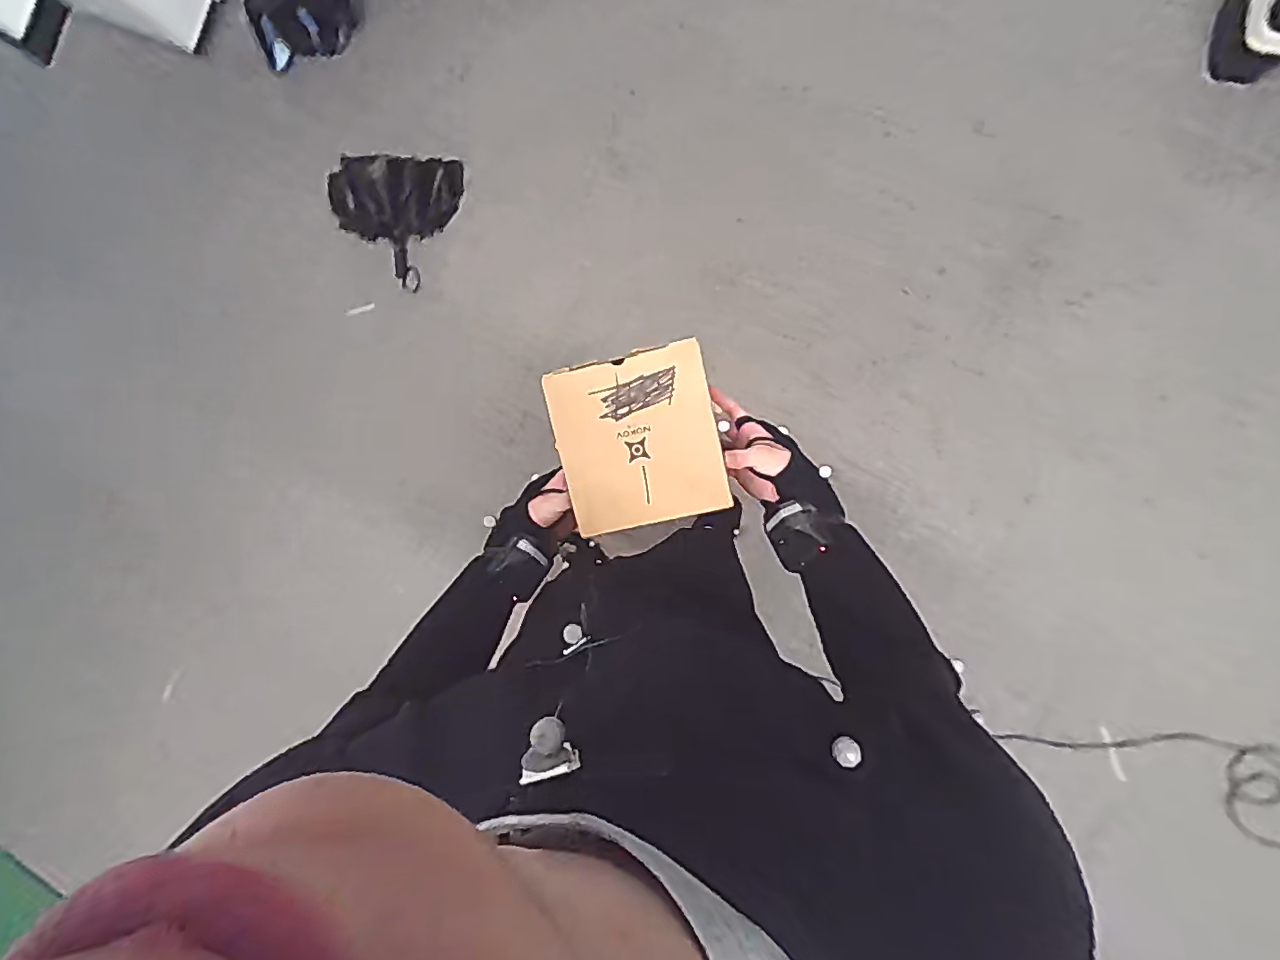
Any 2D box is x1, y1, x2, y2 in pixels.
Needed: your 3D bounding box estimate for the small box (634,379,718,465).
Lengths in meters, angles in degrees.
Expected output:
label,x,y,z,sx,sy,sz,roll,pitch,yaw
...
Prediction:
label,x,y,z,sx,sy,sz,roll,pitch,yaw
small box,0.102,-0.152,1.464,0.168,0.176,0.179,25,96,9
